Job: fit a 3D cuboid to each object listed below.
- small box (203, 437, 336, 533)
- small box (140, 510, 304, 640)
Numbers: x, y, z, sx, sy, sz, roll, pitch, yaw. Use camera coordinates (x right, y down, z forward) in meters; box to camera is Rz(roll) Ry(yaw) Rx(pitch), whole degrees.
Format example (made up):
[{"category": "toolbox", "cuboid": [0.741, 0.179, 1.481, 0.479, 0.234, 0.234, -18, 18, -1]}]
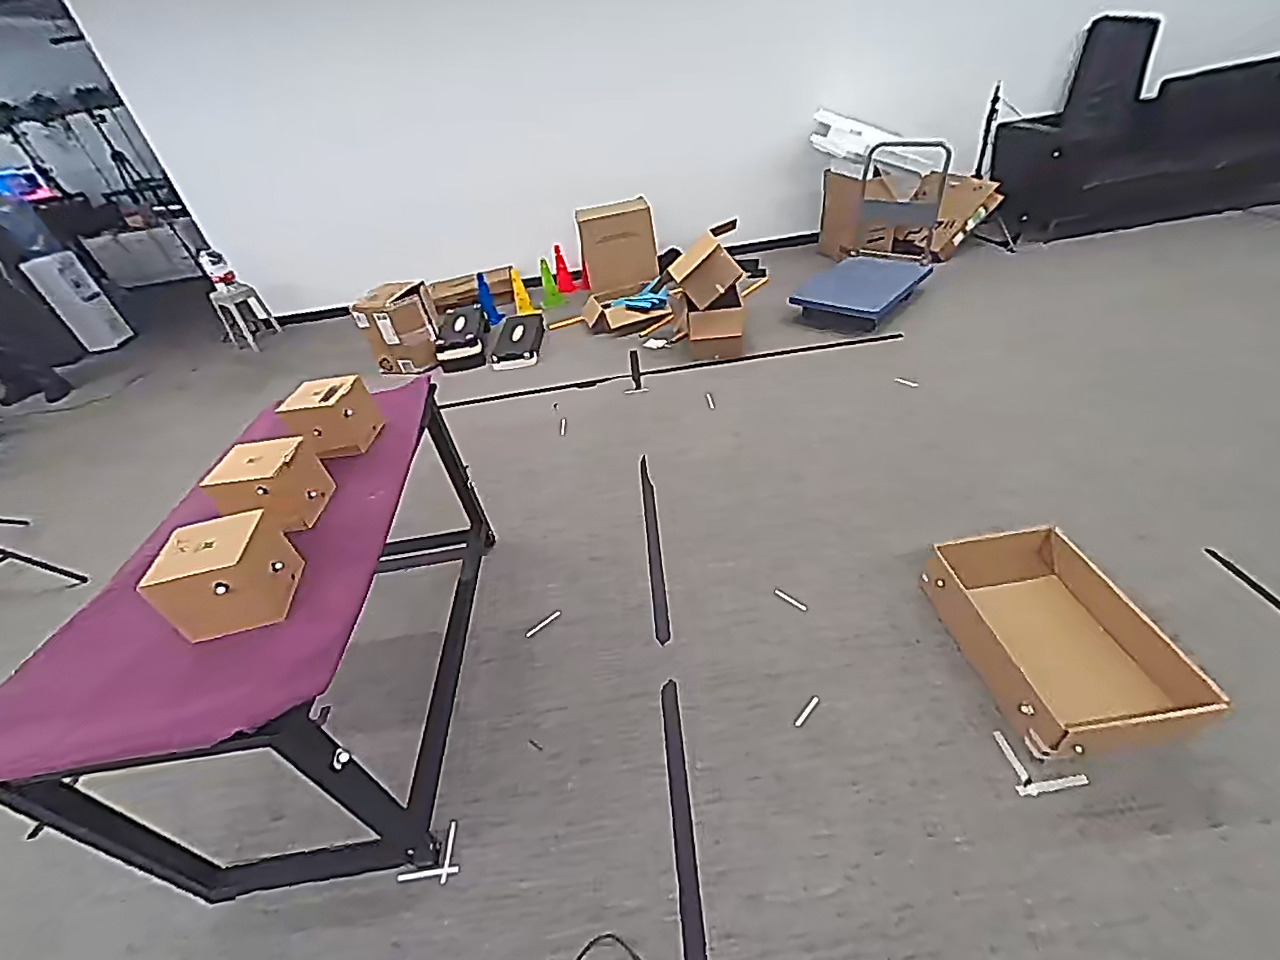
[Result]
[{"category": "small box", "cuboid": [-0.889, 0.019, 1.318, 0.179, 0.176, 0.168, -7, 38, 2]}, {"category": "small box", "cuboid": [-0.817, 0.190, 1.084, 0.179, 0.176, 0.168, -14, 38, -5]}]
